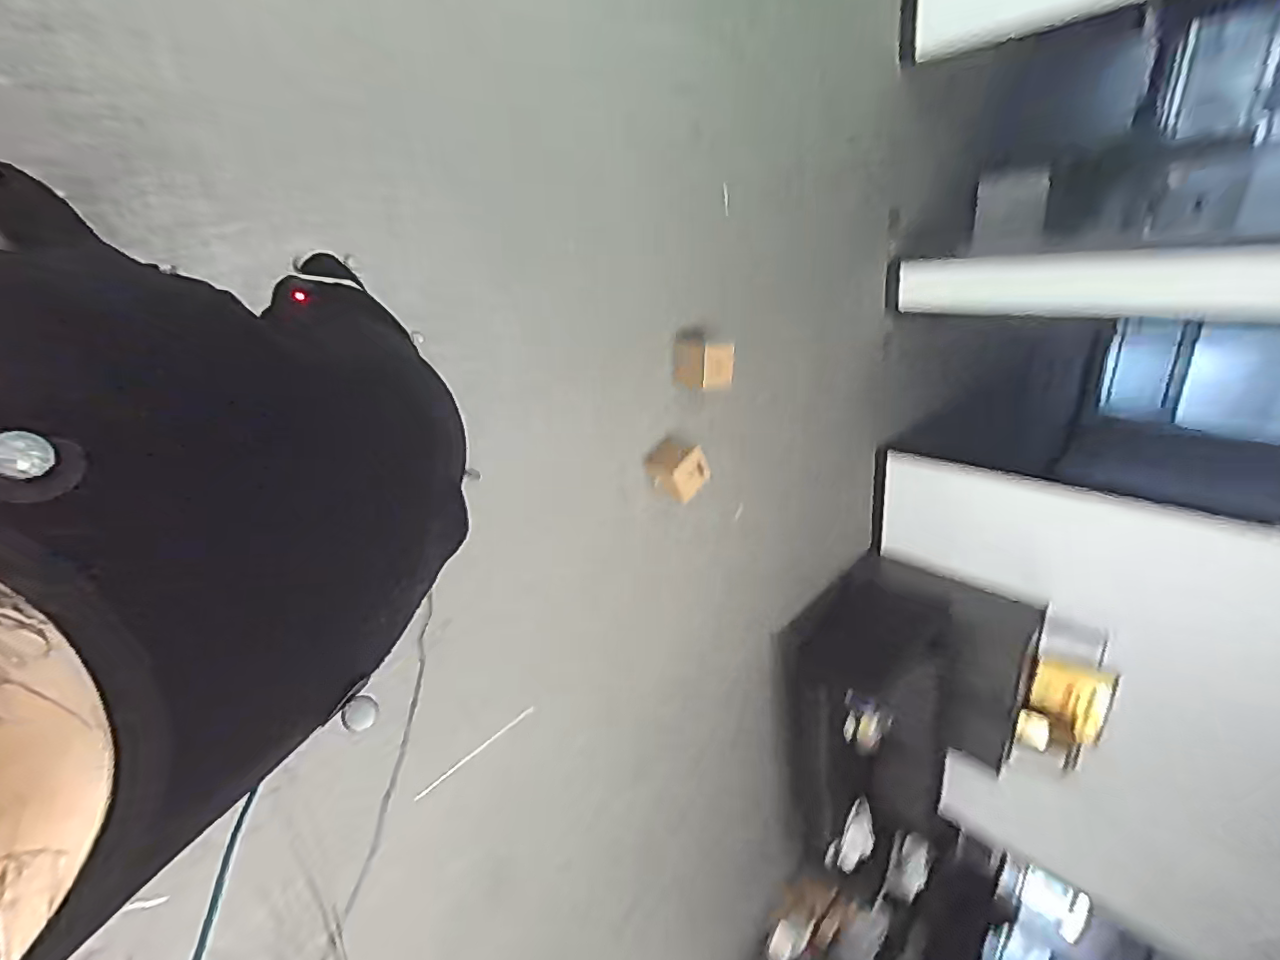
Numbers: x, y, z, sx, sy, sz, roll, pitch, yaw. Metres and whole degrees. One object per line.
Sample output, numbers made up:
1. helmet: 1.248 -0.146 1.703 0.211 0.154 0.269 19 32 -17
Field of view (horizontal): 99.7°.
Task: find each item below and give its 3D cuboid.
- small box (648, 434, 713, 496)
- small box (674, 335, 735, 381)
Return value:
1. small box: 0.162 -0.068 2.196 0.179 0.176 0.168 -46 131 -23
2. small box: 0.255 -0.488 2.143 0.179 0.176 0.168 -16 114 -41
